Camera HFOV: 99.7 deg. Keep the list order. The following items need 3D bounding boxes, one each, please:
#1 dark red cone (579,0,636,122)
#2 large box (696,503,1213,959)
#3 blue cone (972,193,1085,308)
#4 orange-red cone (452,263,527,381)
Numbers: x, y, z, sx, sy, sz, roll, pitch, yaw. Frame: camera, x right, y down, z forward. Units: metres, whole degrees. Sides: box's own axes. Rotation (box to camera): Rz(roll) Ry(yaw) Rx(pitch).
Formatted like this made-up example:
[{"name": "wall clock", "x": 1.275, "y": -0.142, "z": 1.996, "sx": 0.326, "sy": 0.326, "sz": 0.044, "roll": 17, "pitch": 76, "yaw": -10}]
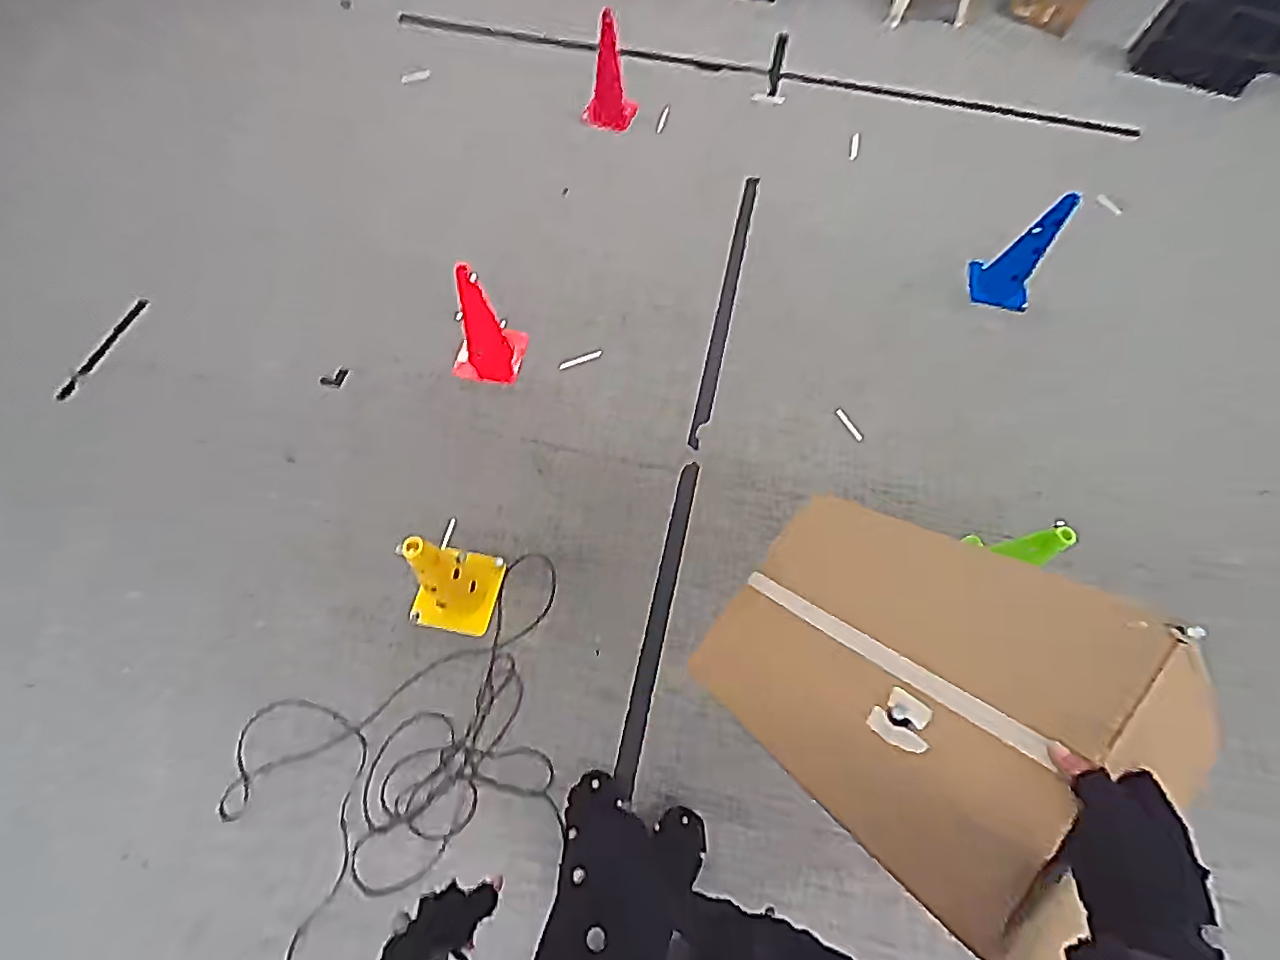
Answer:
[{"name": "dark red cone", "x": -0.123, "y": -1.614, "z": 2.070, "sx": 0.201, "sy": 0.394, "sz": 0.202, "roll": 18, "pitch": 66, "yaw": 5}, {"name": "large box", "x": 0.353, "y": 0.281, "z": 0.664, "sx": 0.320, "sy": 0.408, "sz": 0.320, "roll": -51, "pitch": 121, "yaw": -8}, {"name": "blue cone", "x": 1.285, "y": -0.765, "z": 1.773, "sx": 0.192, "sy": 0.380, "sz": 0.193, "roll": 15, "pitch": 66, "yaw": 4}, {"name": "orange-red cone", "x": -0.467, "y": -0.472, "z": 1.552, "sx": 0.198, "sy": 0.360, "sz": 0.199, "roll": 9, "pitch": 66, "yaw": 3}]
